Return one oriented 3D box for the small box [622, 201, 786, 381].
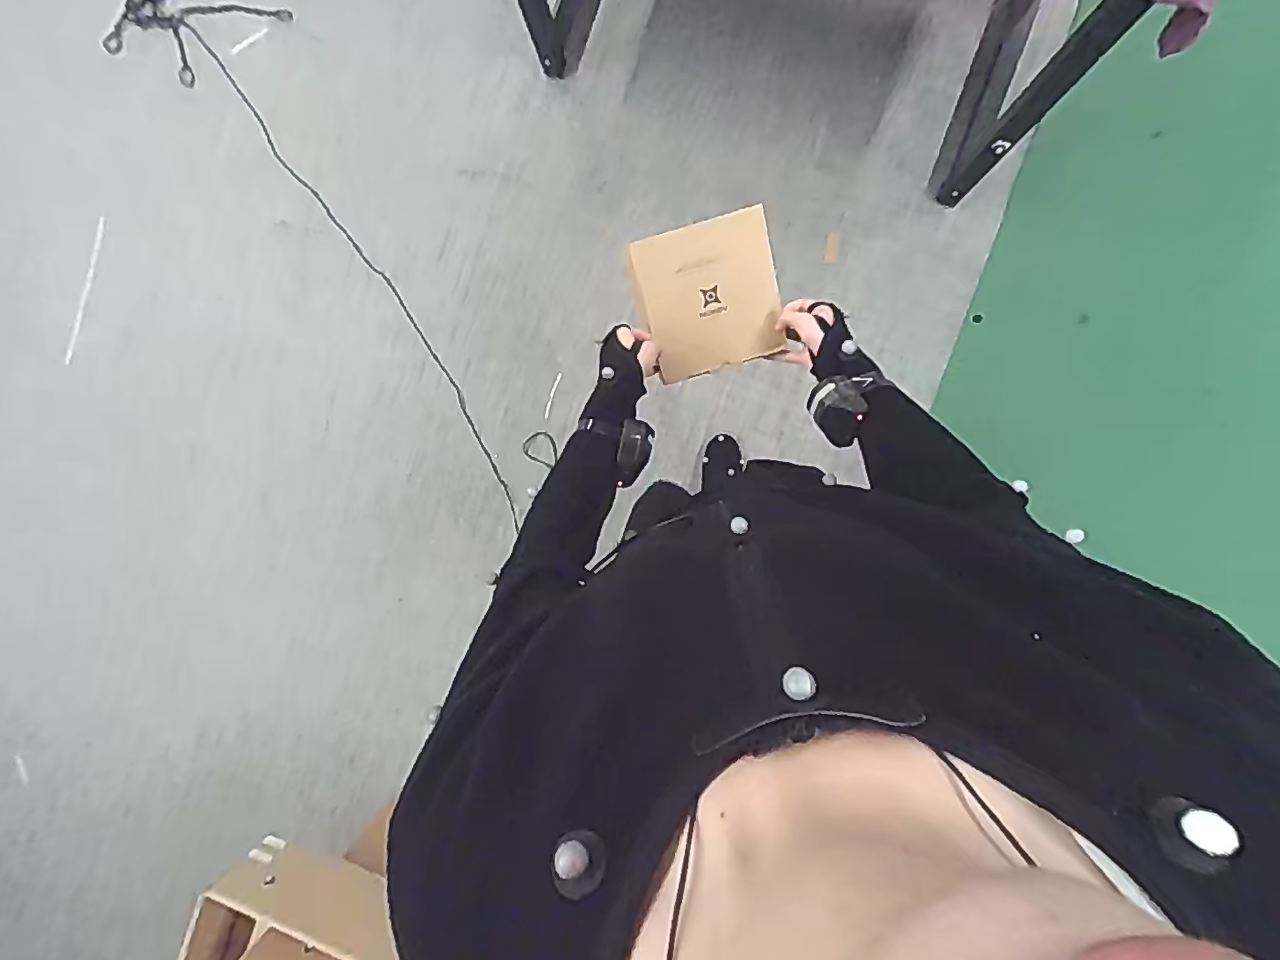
[{"bbox_3d":[0.078,-0.251,0.724,0.168,0.176,0.179,-17,111,1],"label":"small box"}]
